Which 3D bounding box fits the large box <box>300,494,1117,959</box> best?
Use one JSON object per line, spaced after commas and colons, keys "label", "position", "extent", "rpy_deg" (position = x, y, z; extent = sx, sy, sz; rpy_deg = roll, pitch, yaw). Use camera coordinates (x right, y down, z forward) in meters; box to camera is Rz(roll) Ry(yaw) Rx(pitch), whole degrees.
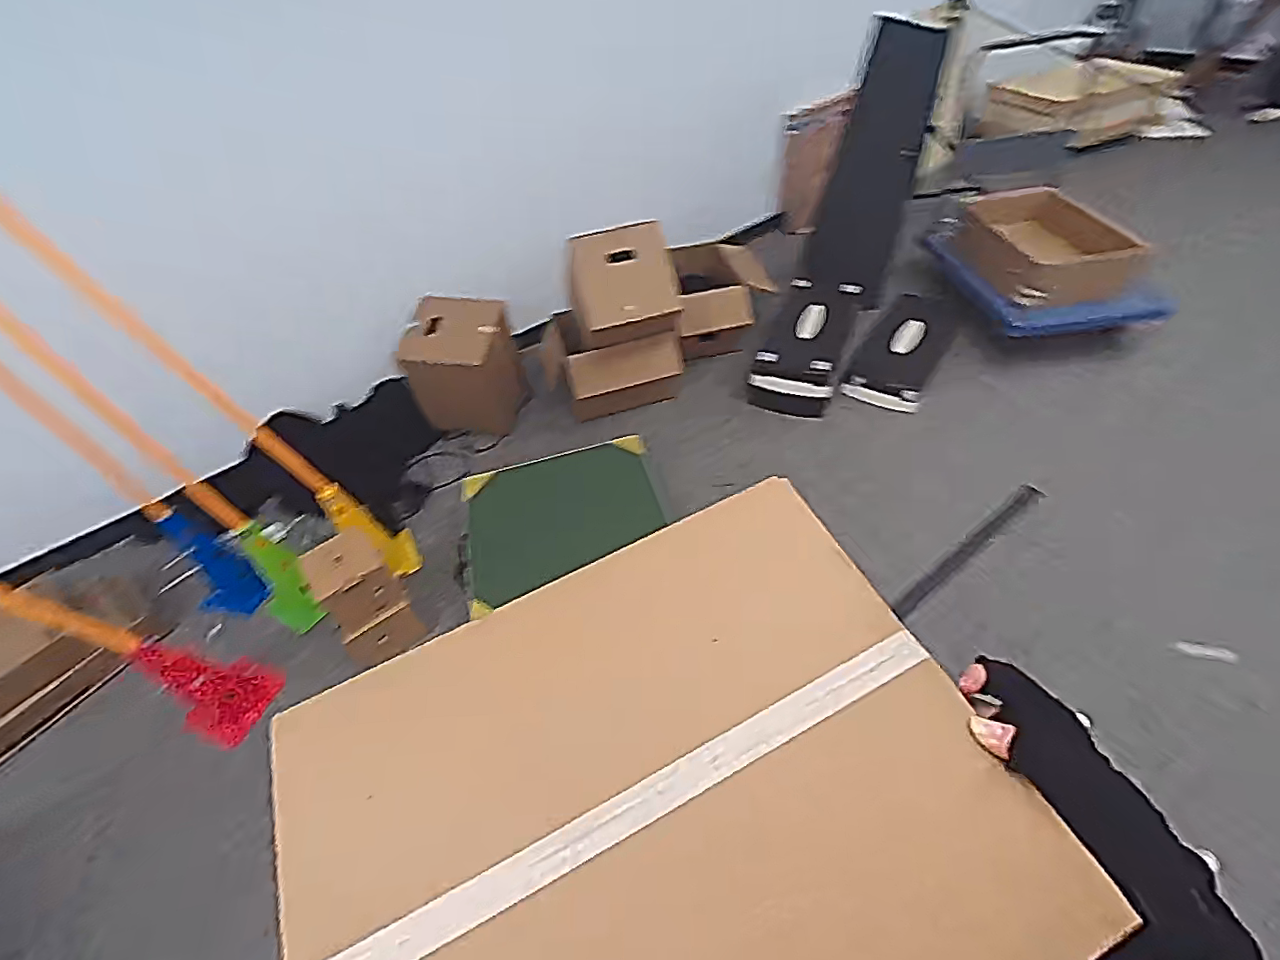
{"label": "large box", "position": [0.024, 0.282, 0.447], "extent": [0.408, 0.320, 0.320], "rpy_deg": [-25, 56, -9]}
